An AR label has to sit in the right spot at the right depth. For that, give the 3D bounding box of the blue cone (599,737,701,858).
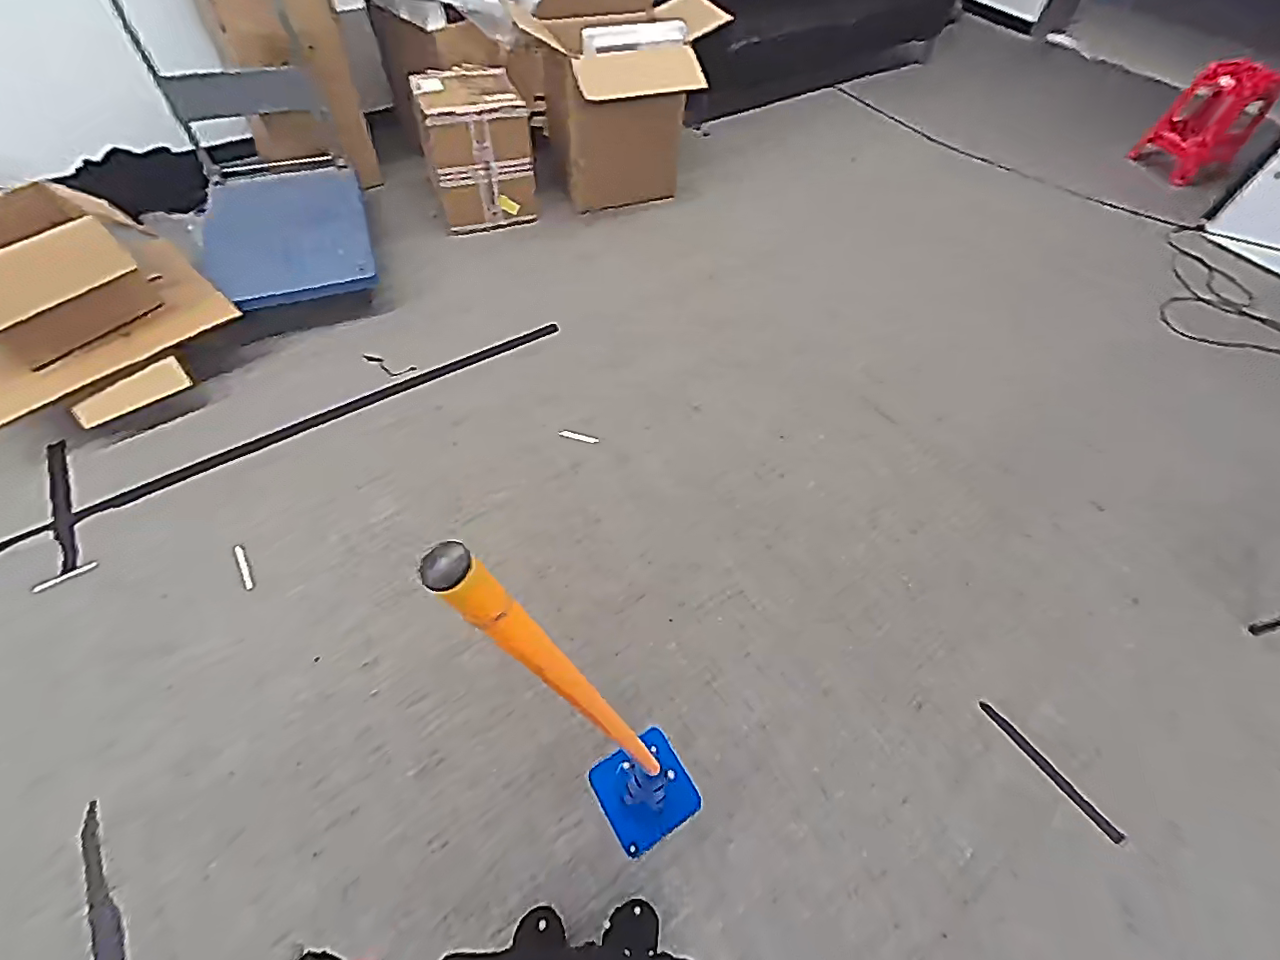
[{"bbox_3d":[0.027,0.611,1.082,0.193,0.380,0.192,-25,61,-19],"label":"blue cone"}]
